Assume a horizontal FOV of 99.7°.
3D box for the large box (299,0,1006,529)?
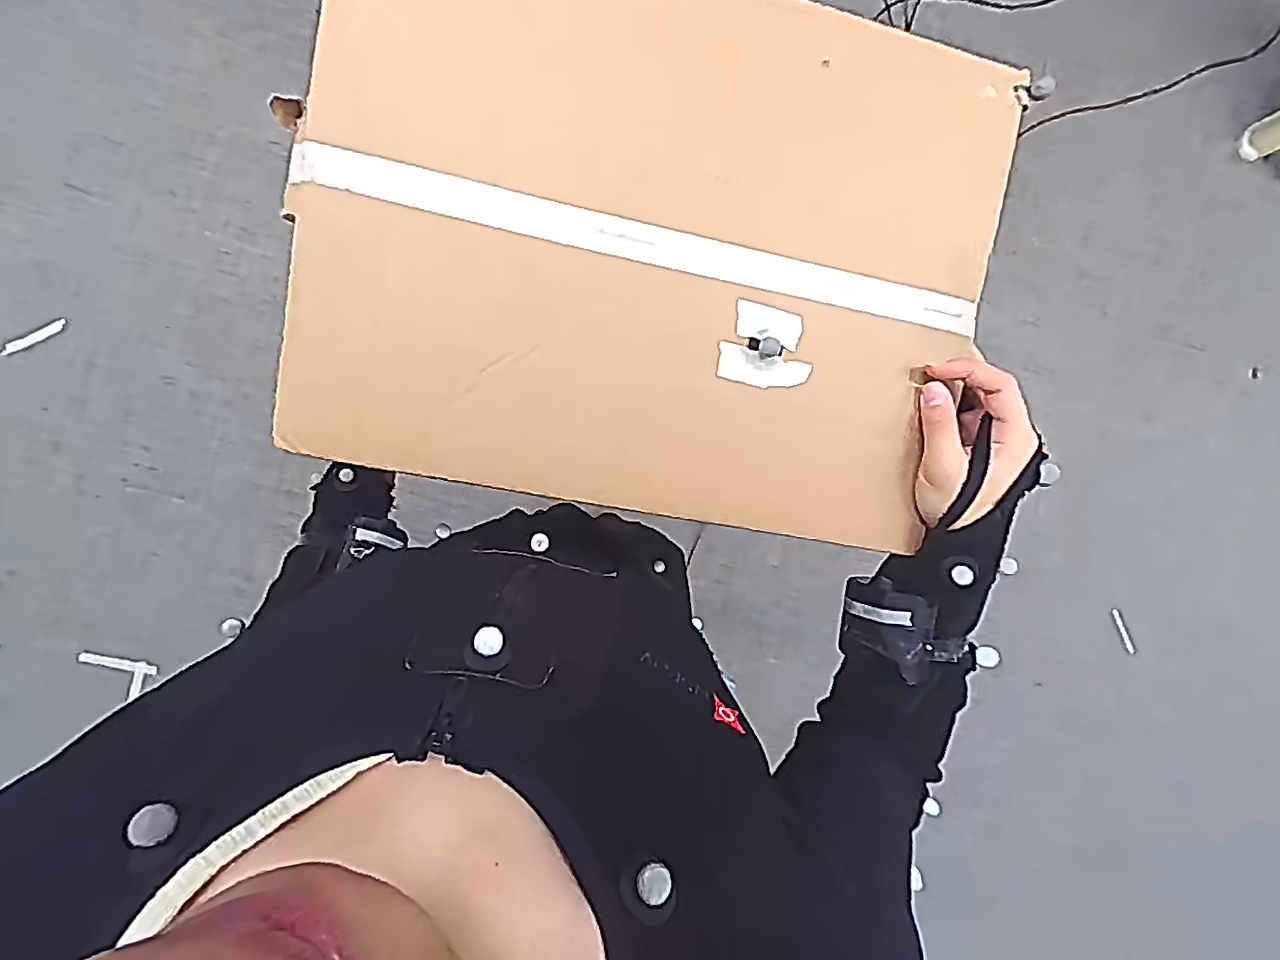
[{"bbox_3d":[-0.004,-0.159,0.474,0.408,0.320,0.320,9,96,-10],"label":"large box"}]
